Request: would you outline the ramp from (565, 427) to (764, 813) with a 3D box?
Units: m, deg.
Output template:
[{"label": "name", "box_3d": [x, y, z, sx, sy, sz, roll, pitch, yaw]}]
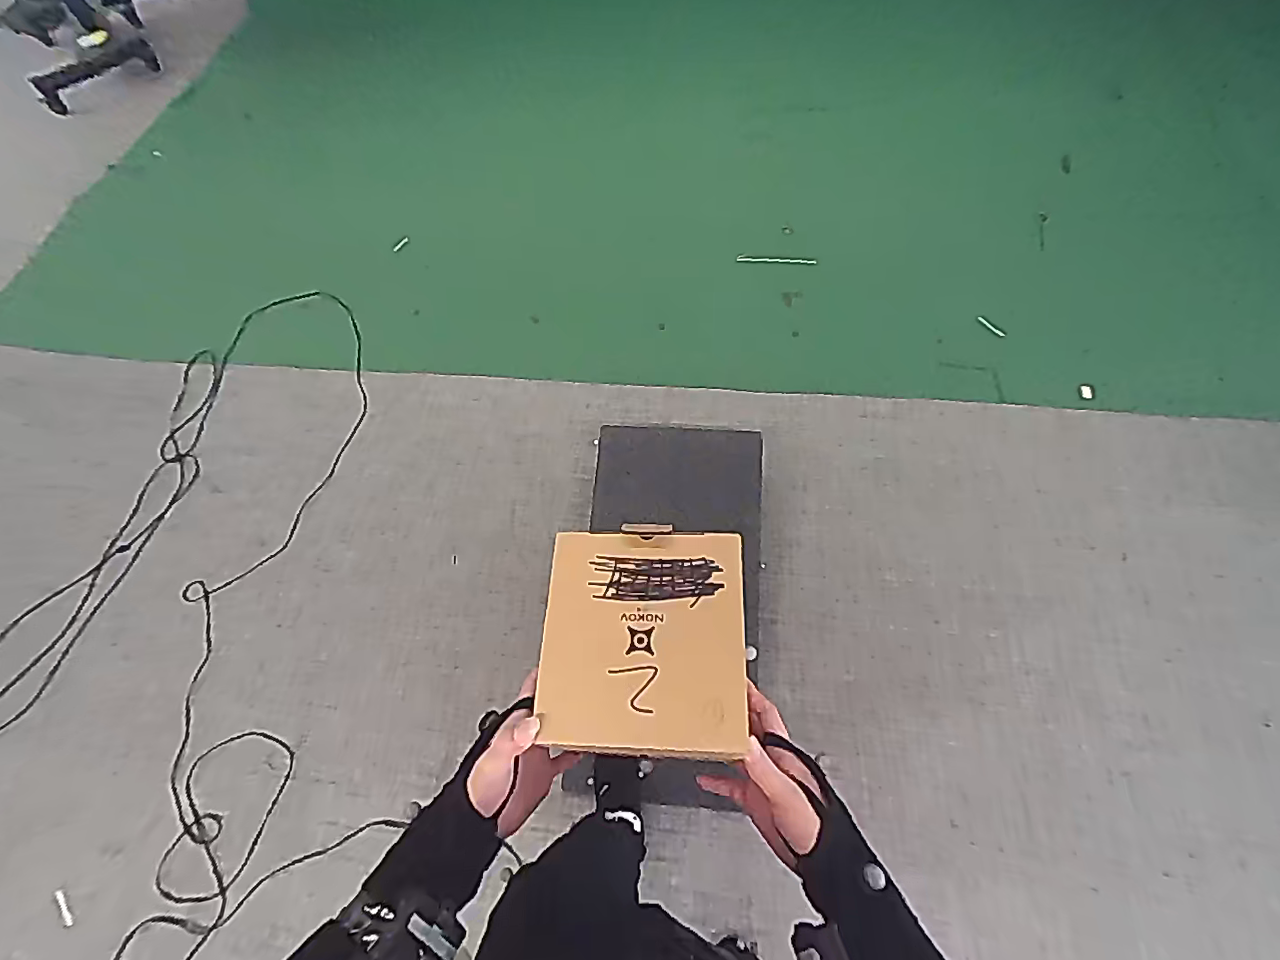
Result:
[{"label": "ramp", "box_3d": [0.090, 0.326, 1.479, 0.509, 0.206, 0.991, 2, 63, 4]}]
